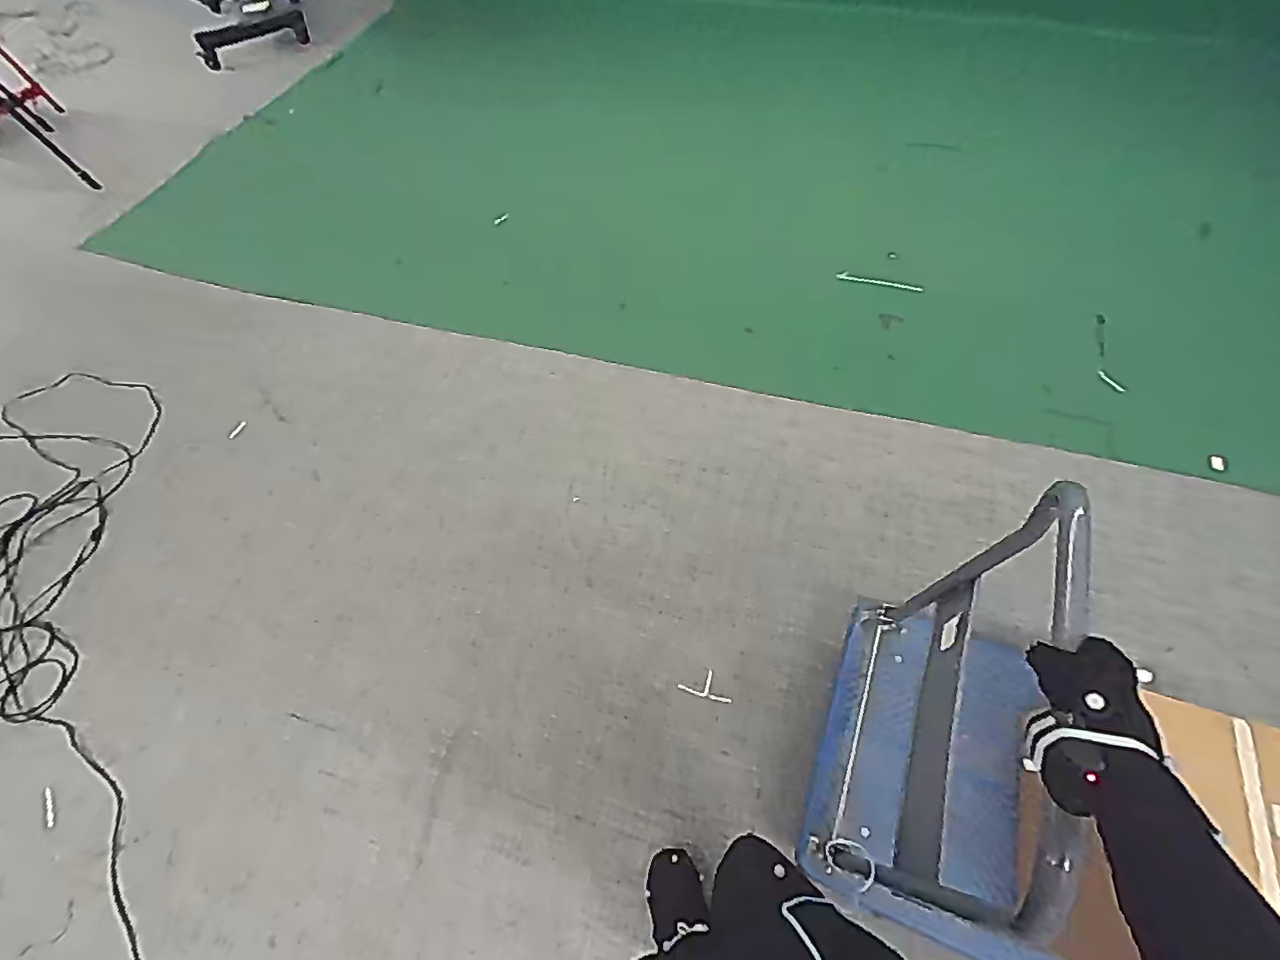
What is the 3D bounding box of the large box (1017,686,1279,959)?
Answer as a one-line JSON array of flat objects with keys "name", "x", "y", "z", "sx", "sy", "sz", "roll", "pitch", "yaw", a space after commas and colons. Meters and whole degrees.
[{"name": "large box", "x": 0.855, "y": 0.612, "z": 0.875, "sx": 0.320, "sy": 0.320, "sz": 0.408, "roll": 16, "pitch": 60, "yaw": 12}]
